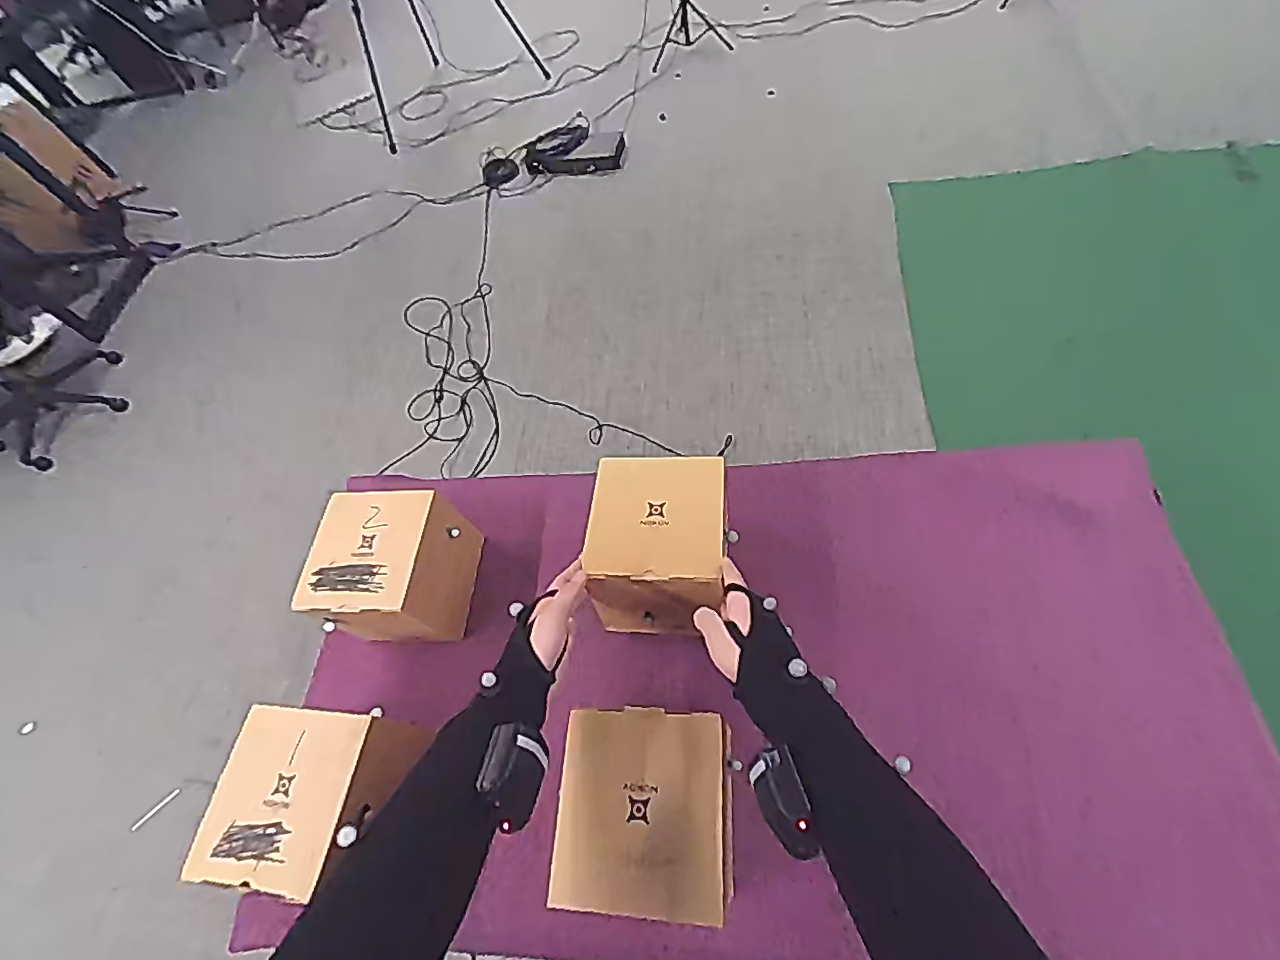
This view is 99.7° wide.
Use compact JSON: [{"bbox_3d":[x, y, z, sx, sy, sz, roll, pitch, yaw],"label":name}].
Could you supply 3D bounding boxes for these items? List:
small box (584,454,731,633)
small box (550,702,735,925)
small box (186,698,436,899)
[{"bbox_3d":[0.034,0.085,0.716,0.168,0.176,0.179,1,55,9],"label":"small box"},{"bbox_3d":[0.017,0.356,0.598,0.168,0.176,0.179,-2,60,12],"label":"small box"},{"bbox_3d":[-0.378,0.380,0.662,0.168,0.176,0.179,1,60,12],"label":"small box"}]
